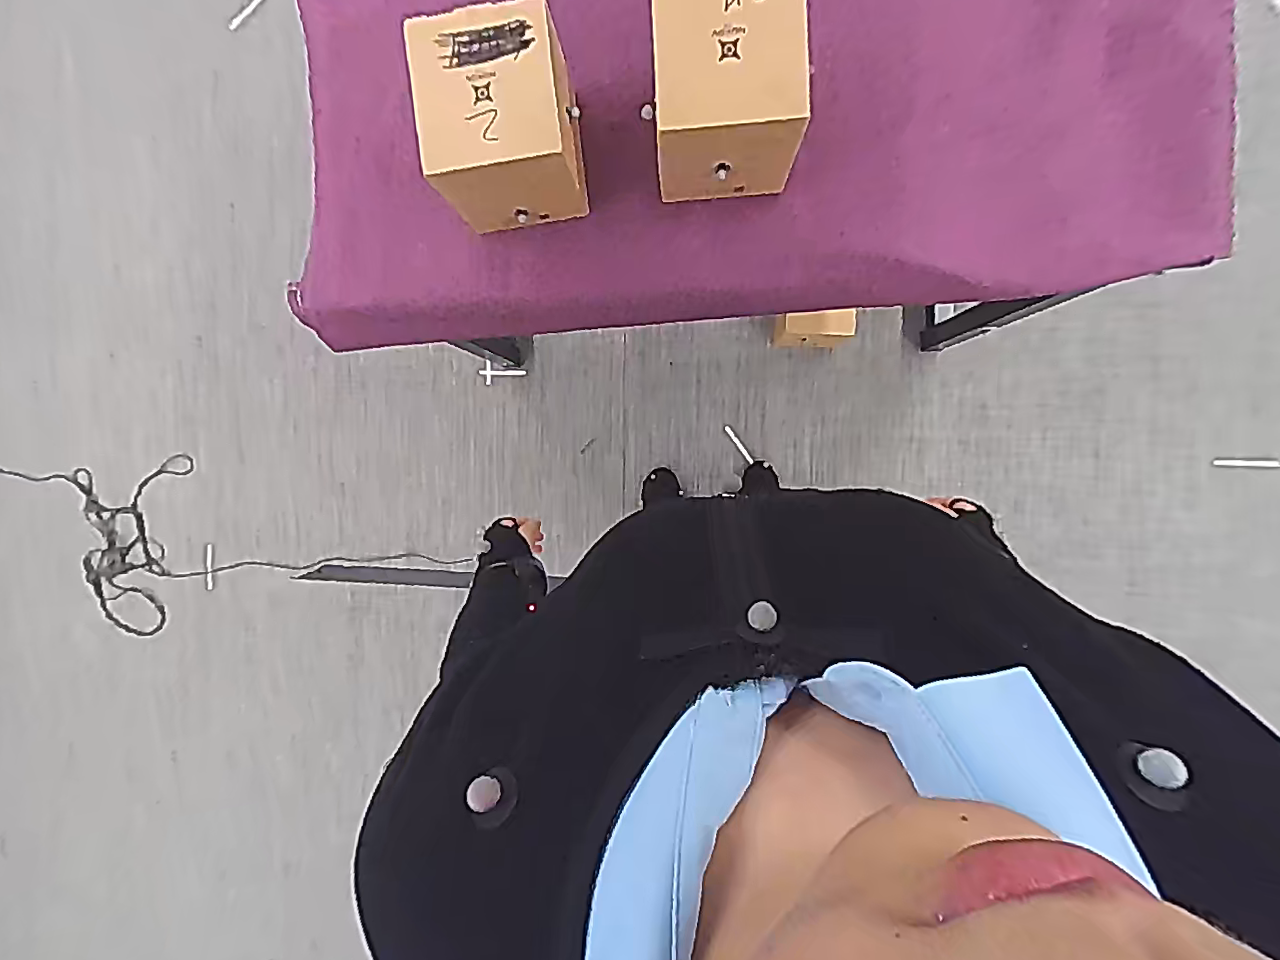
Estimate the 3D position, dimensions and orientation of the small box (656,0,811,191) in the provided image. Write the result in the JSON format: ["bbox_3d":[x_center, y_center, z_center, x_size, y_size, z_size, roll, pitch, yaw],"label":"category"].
[{"bbox_3d":[0.107,-0.476,0.660,0.168,0.176,0.179,-2,92,4],"label":"small box"}]

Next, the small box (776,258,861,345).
[{"bbox_3d":[0.444,-0.444,1.369,0.168,0.176,0.179,4,93,5],"label":"small box"}]
